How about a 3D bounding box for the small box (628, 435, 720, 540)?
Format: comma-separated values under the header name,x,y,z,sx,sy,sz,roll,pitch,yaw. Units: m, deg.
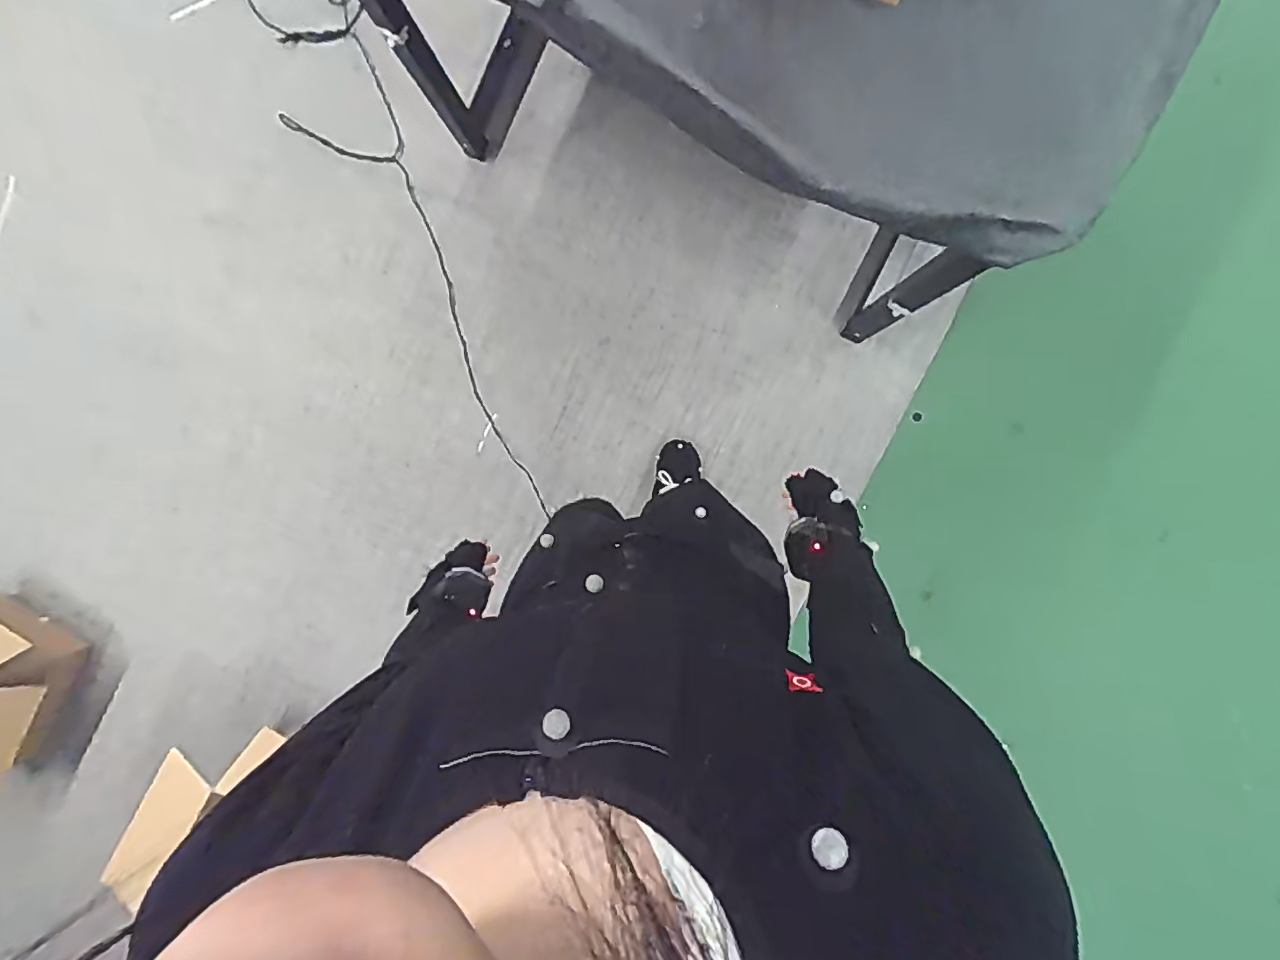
name,x,y,z,sx,sy,sz,roll,pitch,yaw
small box,0.083,0.022,1.407,0.179,0.176,0.168,-33,63,-19
